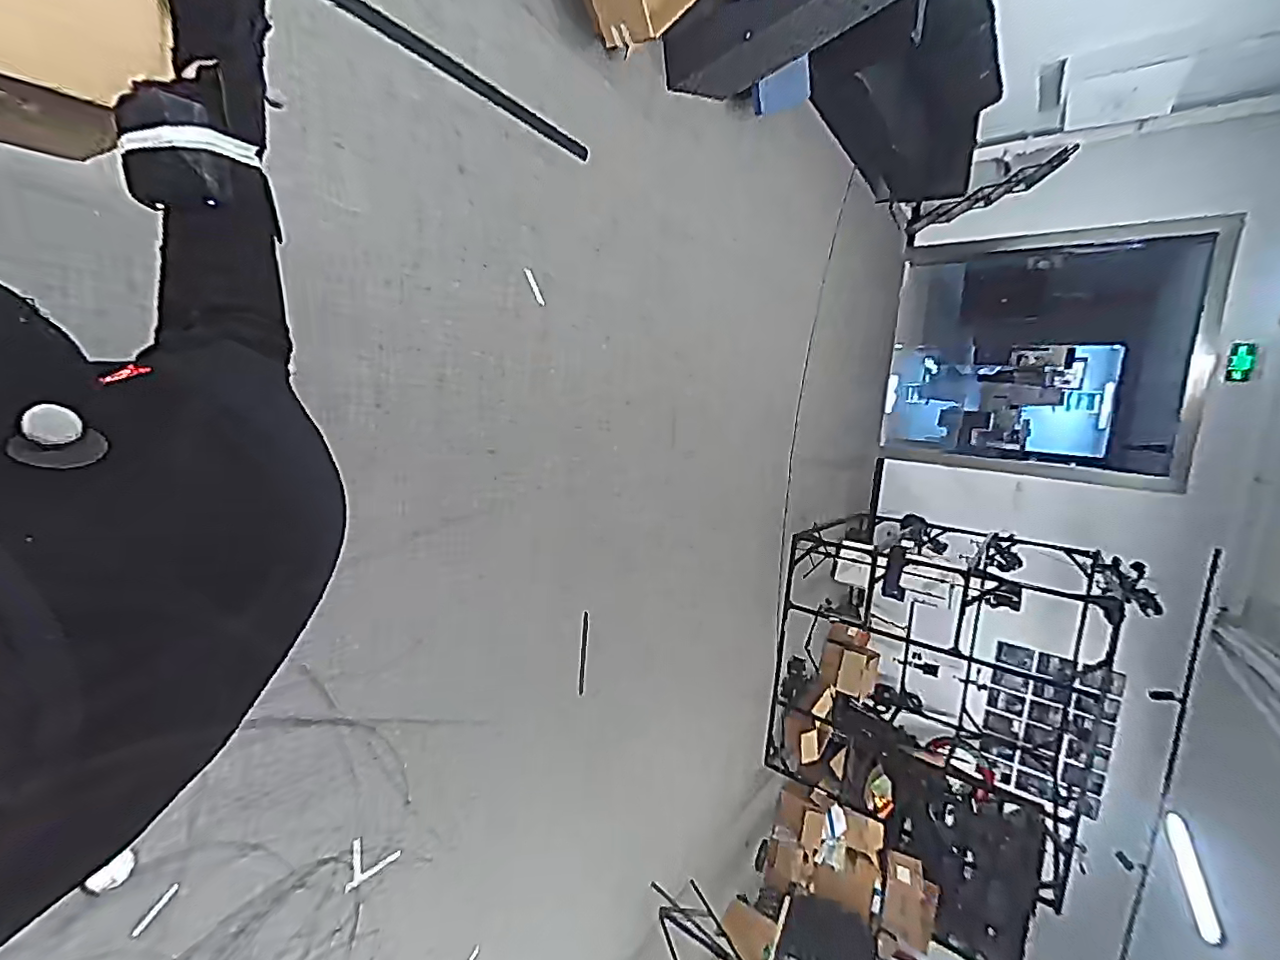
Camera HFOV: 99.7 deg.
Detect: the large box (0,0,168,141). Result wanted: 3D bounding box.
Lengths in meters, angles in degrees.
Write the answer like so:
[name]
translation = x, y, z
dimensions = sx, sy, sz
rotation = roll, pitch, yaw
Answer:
[large box]
translation = -0.556, -0.426, 0.276
dimensions = 0.408, 0.320, 0.320
rotation = -11, 115, -53
